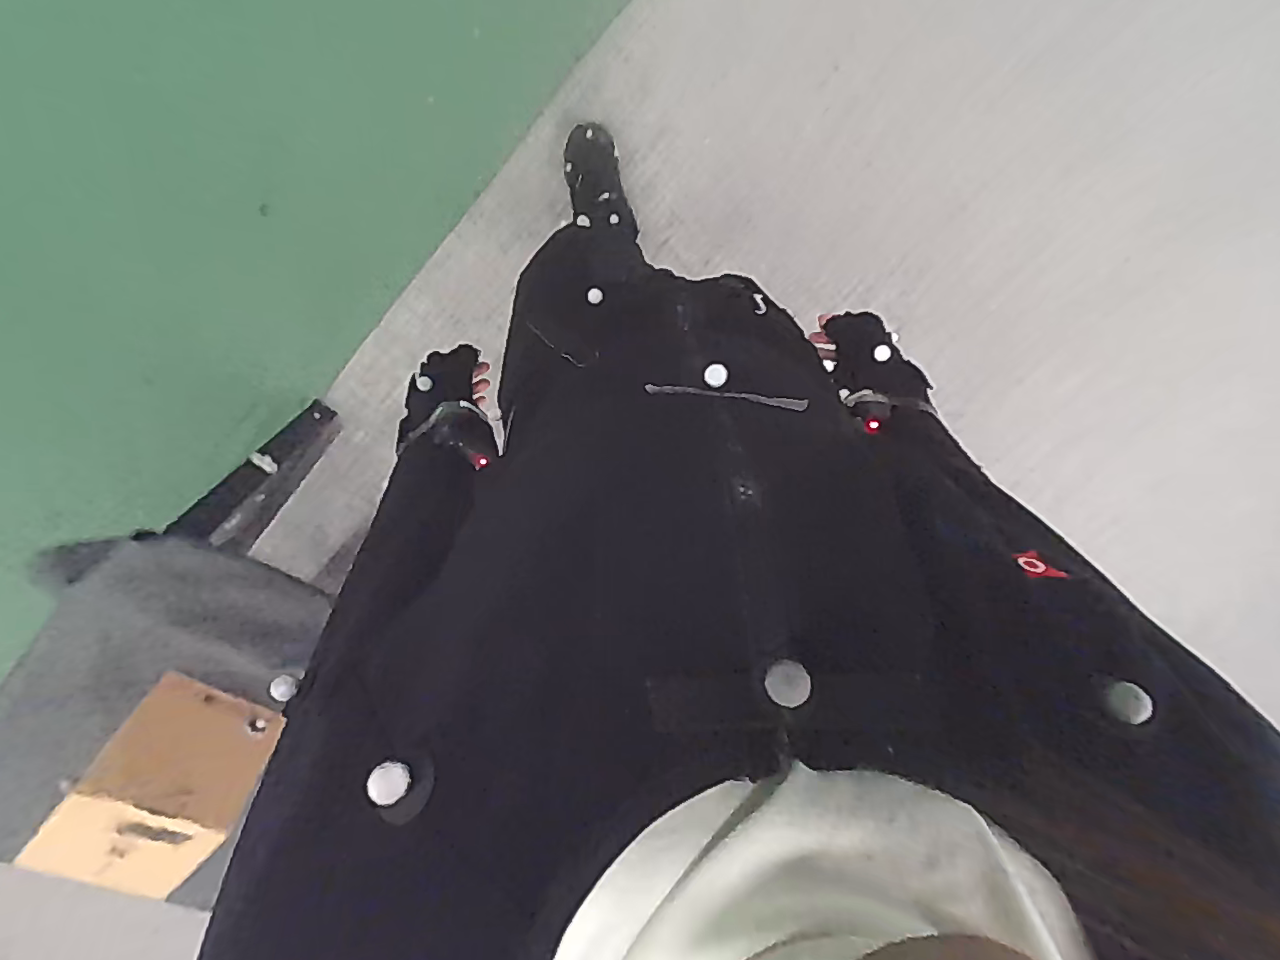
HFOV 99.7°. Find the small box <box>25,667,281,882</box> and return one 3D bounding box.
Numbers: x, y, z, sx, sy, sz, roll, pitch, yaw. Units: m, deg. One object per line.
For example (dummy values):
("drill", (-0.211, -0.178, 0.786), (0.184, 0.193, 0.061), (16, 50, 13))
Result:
("small box", (-0.617, 0.382, 0.714), (0.179, 0.176, 0.168), (-43, 117, 17))
